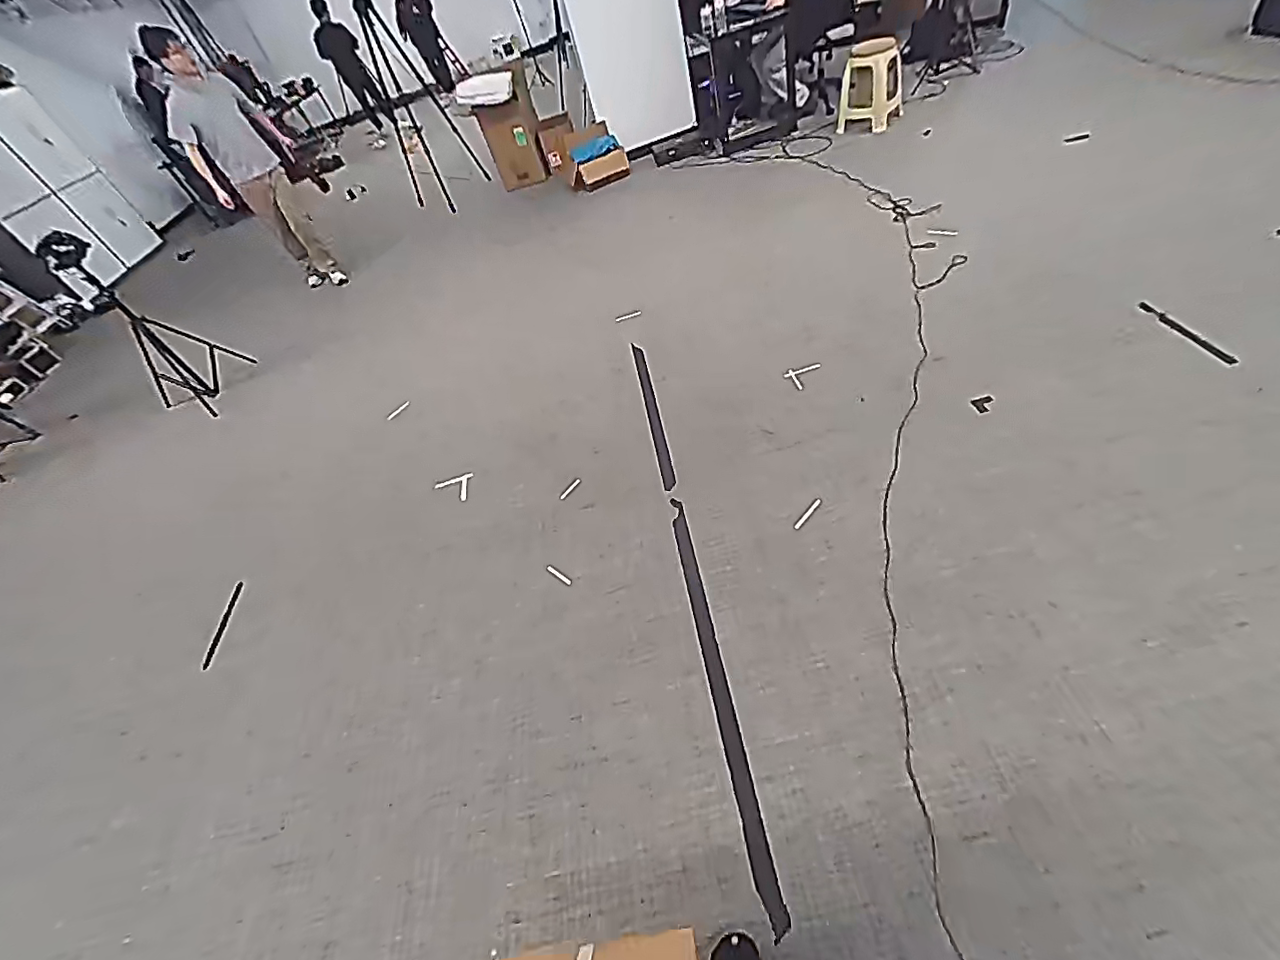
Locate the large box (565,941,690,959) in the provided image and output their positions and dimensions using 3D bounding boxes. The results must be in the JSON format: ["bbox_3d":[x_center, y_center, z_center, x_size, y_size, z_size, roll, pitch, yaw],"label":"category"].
[{"bbox_3d":[-0.054,0.852,0.596,0.320,0.408,0.320,-12,89,3],"label":"large box"}]
